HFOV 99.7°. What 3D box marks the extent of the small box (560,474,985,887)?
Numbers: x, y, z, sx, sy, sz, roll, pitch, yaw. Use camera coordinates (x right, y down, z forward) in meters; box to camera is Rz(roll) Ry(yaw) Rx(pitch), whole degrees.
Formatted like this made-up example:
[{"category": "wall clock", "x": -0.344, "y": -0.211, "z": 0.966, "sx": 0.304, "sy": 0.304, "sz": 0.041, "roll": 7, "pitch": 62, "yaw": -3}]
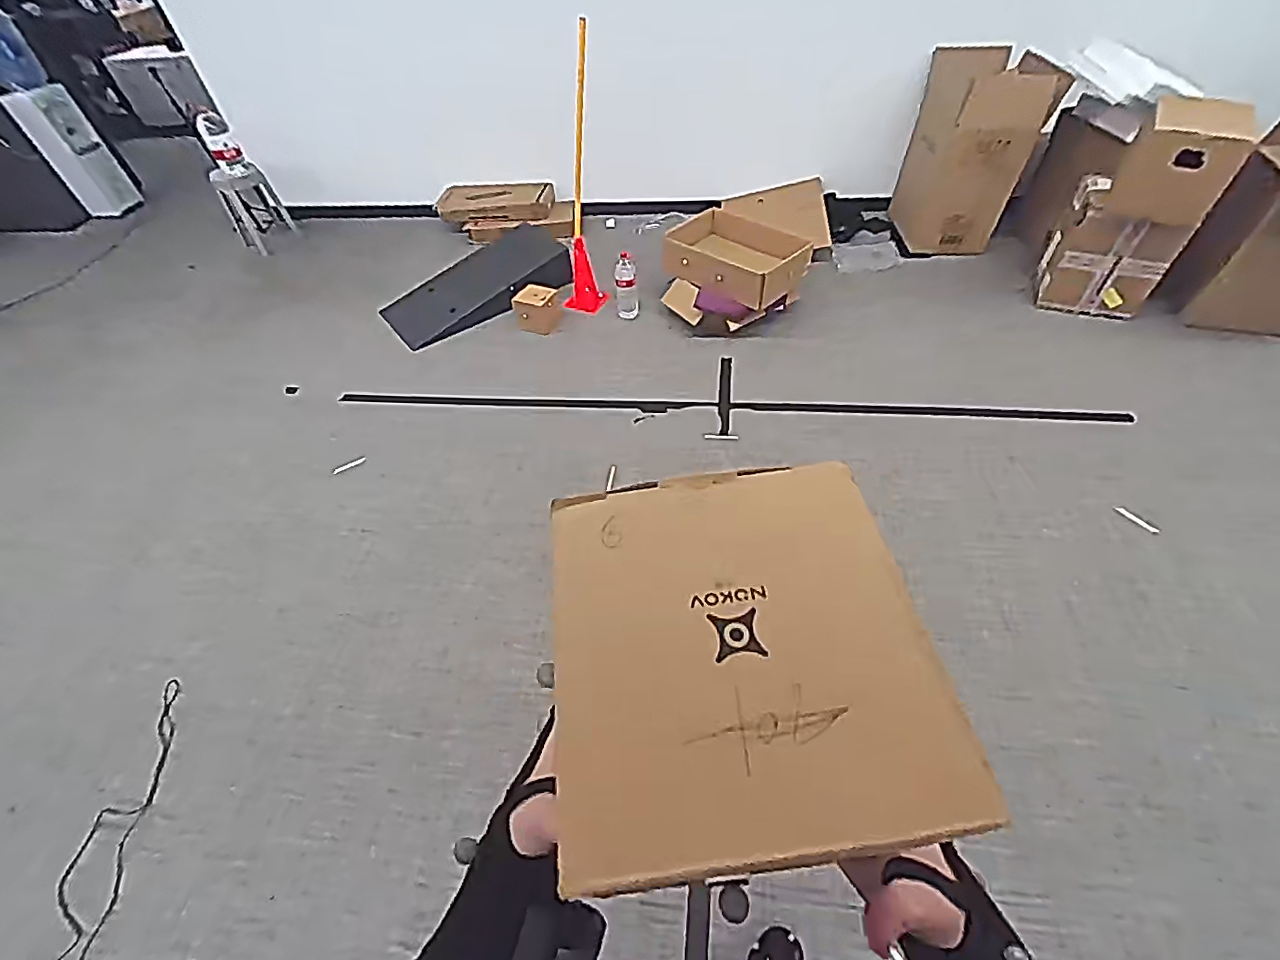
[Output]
[{"category": "small box", "x": 0.048, "y": 0.122, "z": 0.320, "sx": 0.168, "sy": 0.176, "sz": 0.179, "roll": -8, "pitch": 53, "yaw": -1}]
